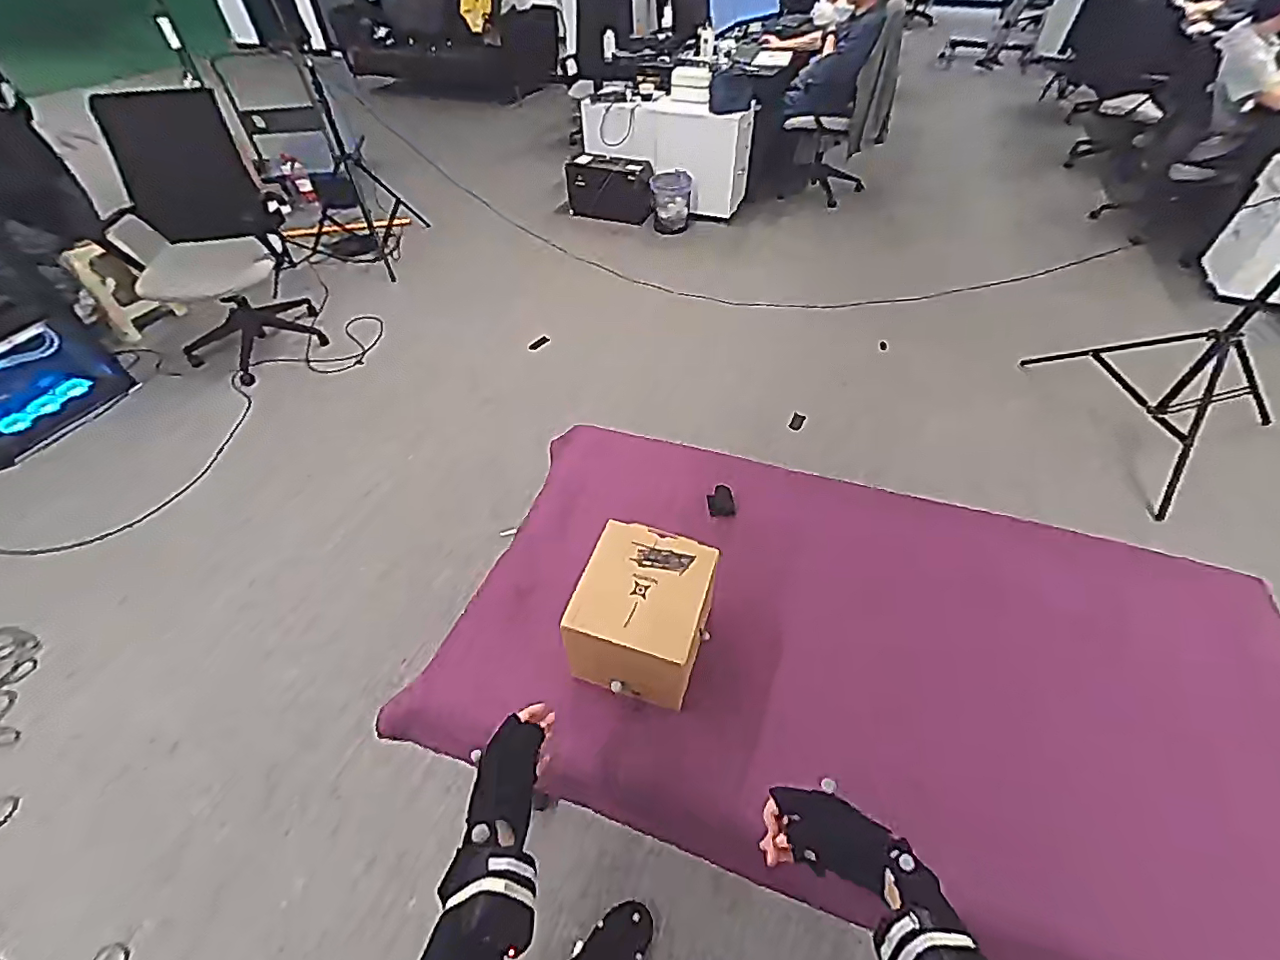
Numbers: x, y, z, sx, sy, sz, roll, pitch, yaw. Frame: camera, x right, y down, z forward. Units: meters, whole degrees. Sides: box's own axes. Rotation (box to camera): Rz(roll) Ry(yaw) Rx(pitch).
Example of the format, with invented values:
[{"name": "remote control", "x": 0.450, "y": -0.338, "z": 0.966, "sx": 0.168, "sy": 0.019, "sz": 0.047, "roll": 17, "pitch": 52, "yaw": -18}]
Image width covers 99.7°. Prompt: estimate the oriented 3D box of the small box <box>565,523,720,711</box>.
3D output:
[{"name": "small box", "x": 0.008, "y": 0.195, "z": 0.772, "sx": 0.168, "sy": 0.176, "sz": 0.179, "roll": 14, "pitch": 50, "yaw": 13}]
